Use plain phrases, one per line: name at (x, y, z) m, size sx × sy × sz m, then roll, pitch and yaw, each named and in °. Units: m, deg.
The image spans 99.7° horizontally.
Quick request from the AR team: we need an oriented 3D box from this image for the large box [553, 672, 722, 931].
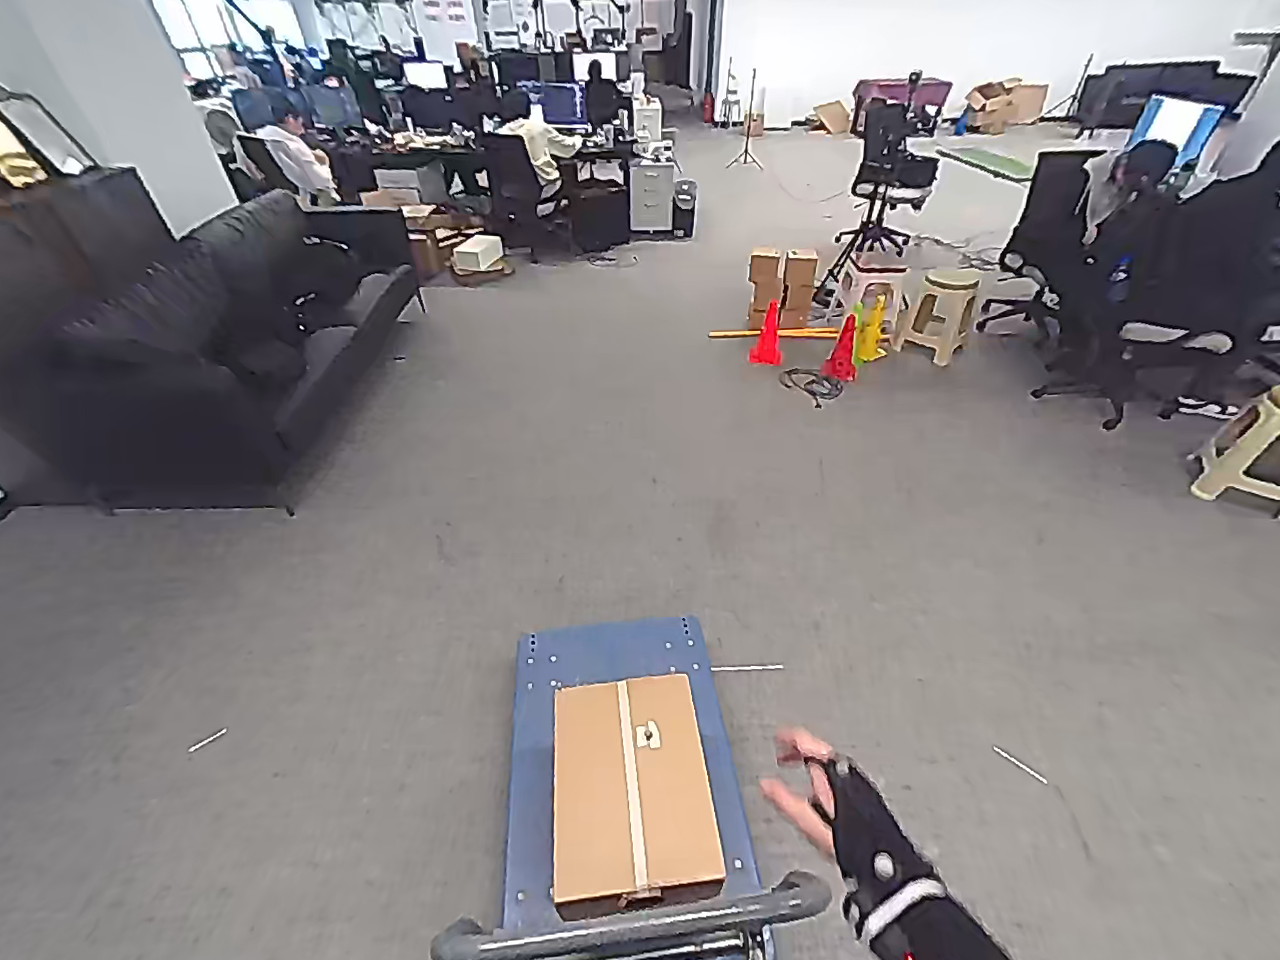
large box at (-0.020, 0.712, 1.219) m, size 0.320 × 0.320 × 0.408 m, roll -5°, pitch 41°, yaw -5°
